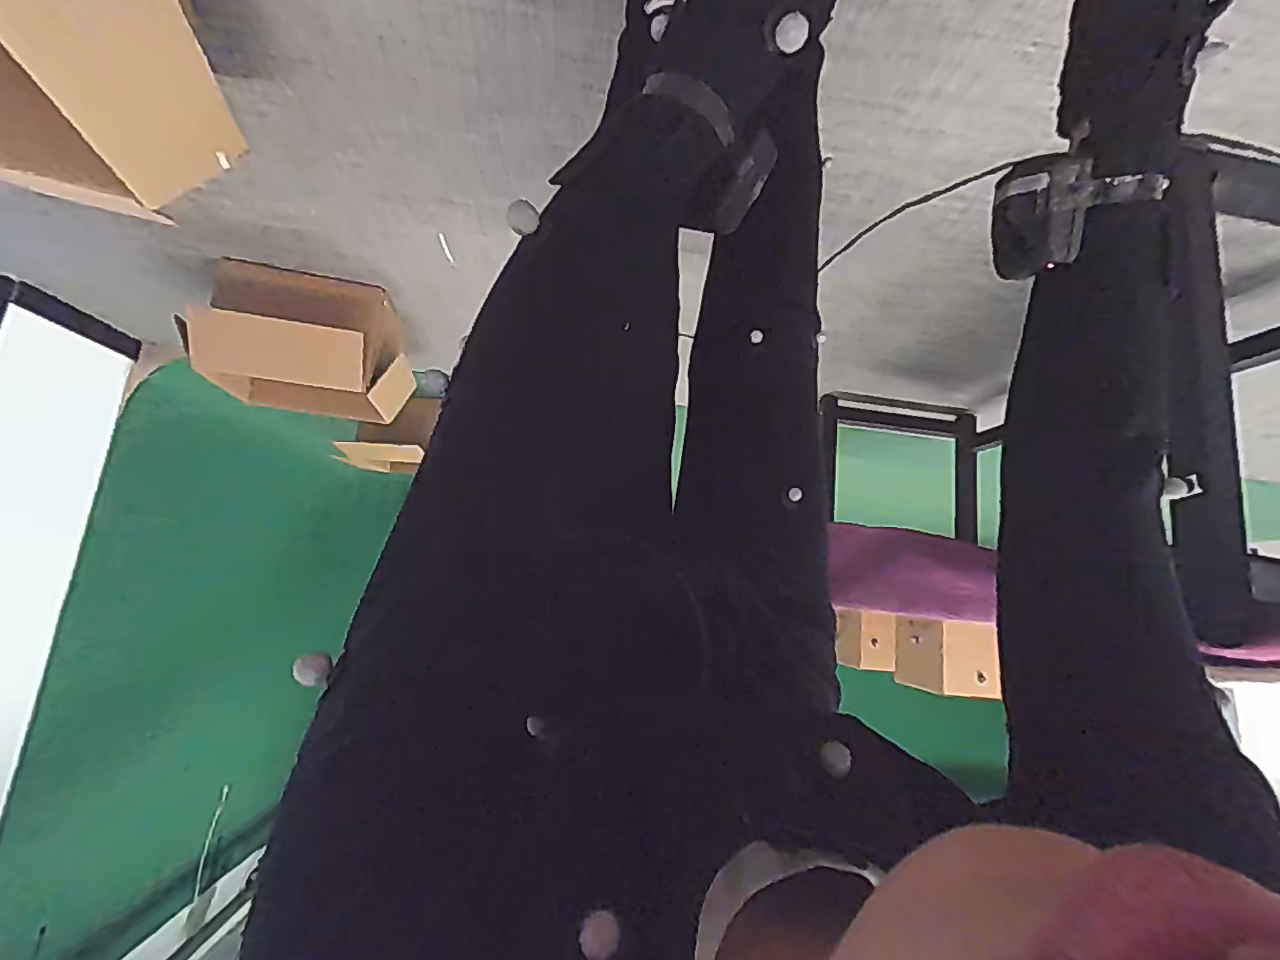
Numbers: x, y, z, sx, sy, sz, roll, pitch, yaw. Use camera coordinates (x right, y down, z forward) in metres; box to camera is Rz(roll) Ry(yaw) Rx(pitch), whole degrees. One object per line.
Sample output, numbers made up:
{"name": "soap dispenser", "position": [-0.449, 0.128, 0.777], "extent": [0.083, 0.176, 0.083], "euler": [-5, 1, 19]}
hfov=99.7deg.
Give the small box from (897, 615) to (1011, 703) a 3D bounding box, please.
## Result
{"name": "small box", "position": [0.742, 0.420, 1.286], "extent": [0.179, 0.176, 0.168], "euler": [8, 168, -10]}
